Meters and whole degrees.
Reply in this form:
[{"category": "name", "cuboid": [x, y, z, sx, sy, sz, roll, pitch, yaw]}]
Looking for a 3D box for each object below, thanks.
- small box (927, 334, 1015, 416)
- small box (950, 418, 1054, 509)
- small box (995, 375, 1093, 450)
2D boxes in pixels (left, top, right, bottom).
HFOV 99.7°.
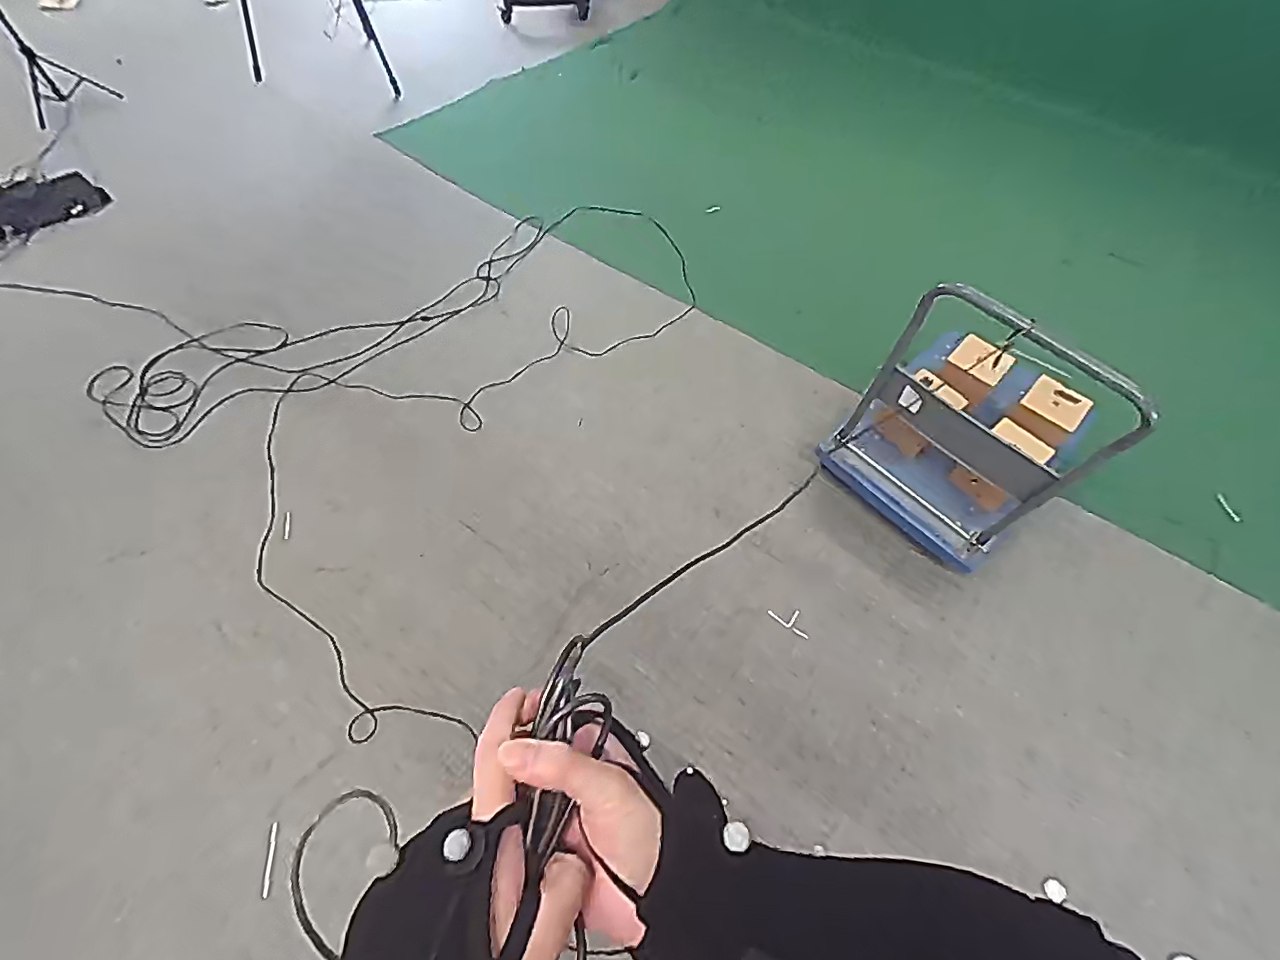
[{"category": "small box", "cuboid": [1.104, -0.349, 1.820, 0.168, 0.176, 0.179, 41, 65, 19]}, {"category": "small box", "cuboid": [1.083, -0.047, 1.632, 0.179, 0.176, 0.168, -36, 66, -22]}, {"category": "small box", "cuboid": [1.284, -0.196, 1.734, 0.168, 0.176, 0.179, 40, 65, 21]}]
